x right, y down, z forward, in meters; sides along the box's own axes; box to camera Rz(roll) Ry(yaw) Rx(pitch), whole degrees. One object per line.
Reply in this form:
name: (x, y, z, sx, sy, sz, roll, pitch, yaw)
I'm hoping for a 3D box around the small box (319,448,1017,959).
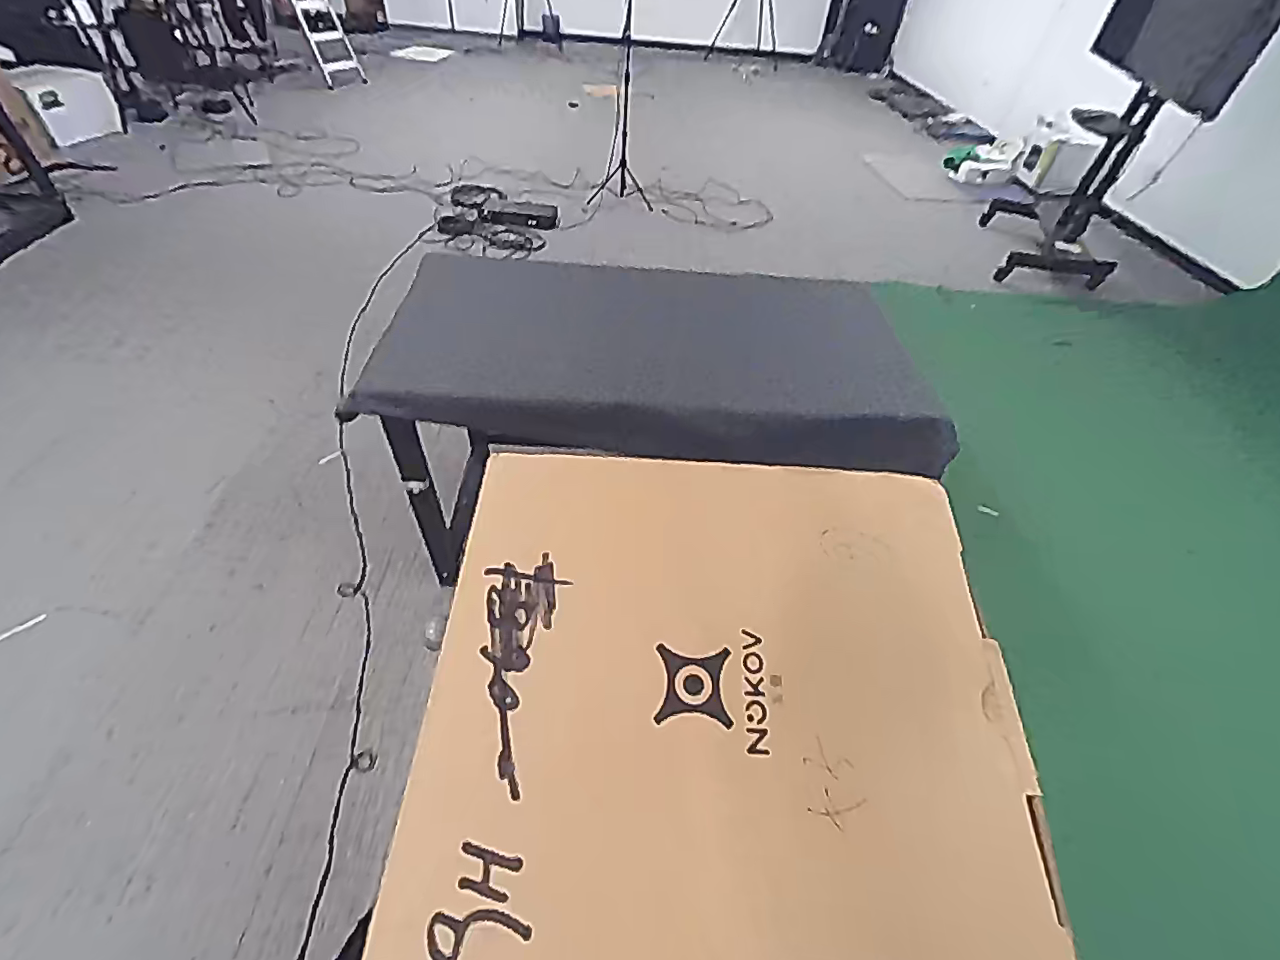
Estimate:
small box: (0.010, 0.107, 0.235, 0.179, 0.176, 0.168, 5, 57, 0)
